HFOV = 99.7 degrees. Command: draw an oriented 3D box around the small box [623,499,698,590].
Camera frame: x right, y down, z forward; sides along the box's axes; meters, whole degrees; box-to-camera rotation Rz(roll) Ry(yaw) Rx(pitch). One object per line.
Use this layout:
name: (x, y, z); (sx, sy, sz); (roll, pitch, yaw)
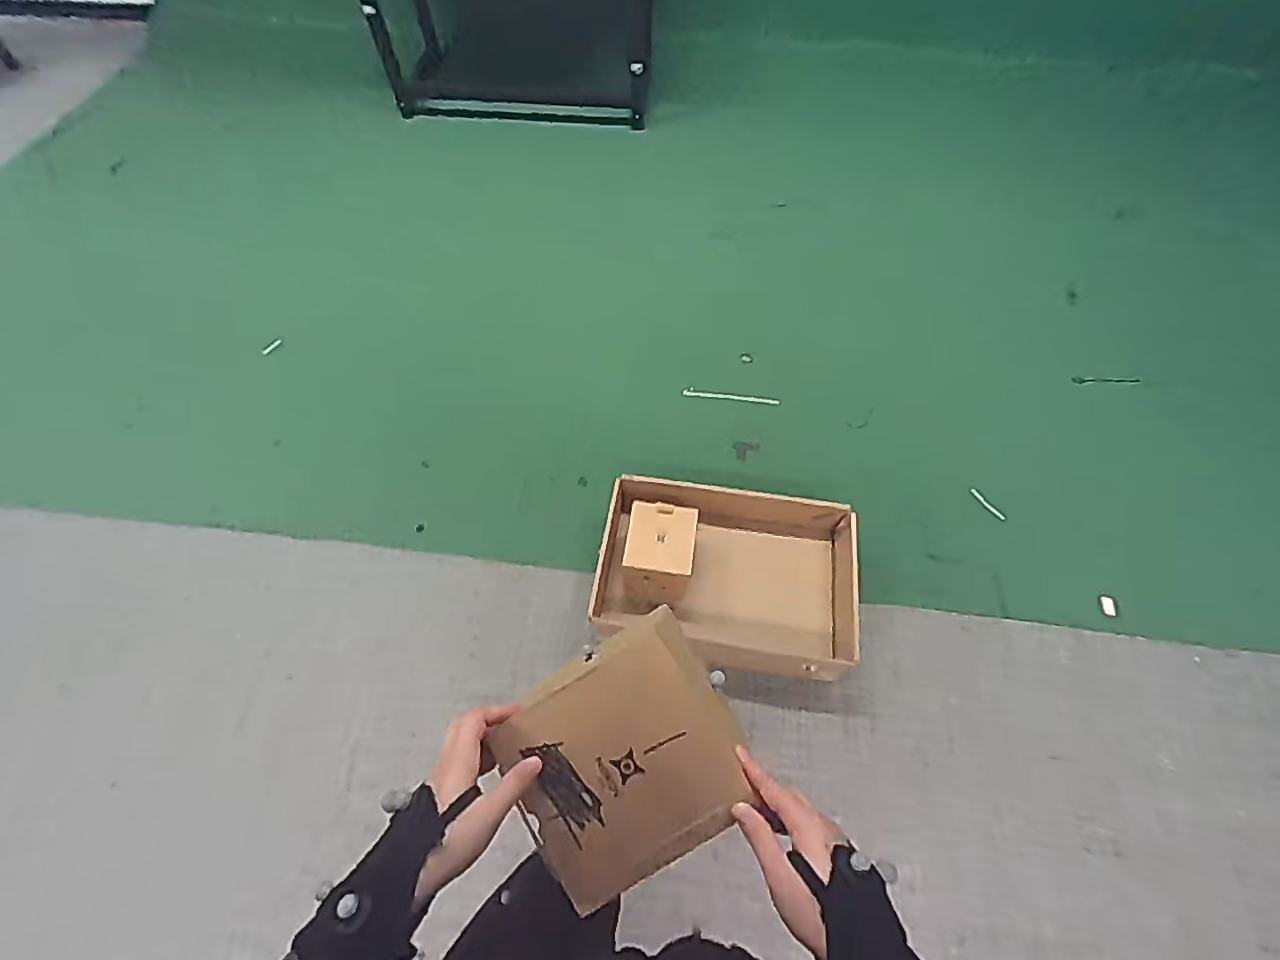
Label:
small box: (0.053, 0.169, 1.372); (0.168, 0.176, 0.179); (7, 62, 4)

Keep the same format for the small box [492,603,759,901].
small box: (-0.006, 0.241, 0.528); (0.179, 0.176, 0.168); (-32, 83, 2)
